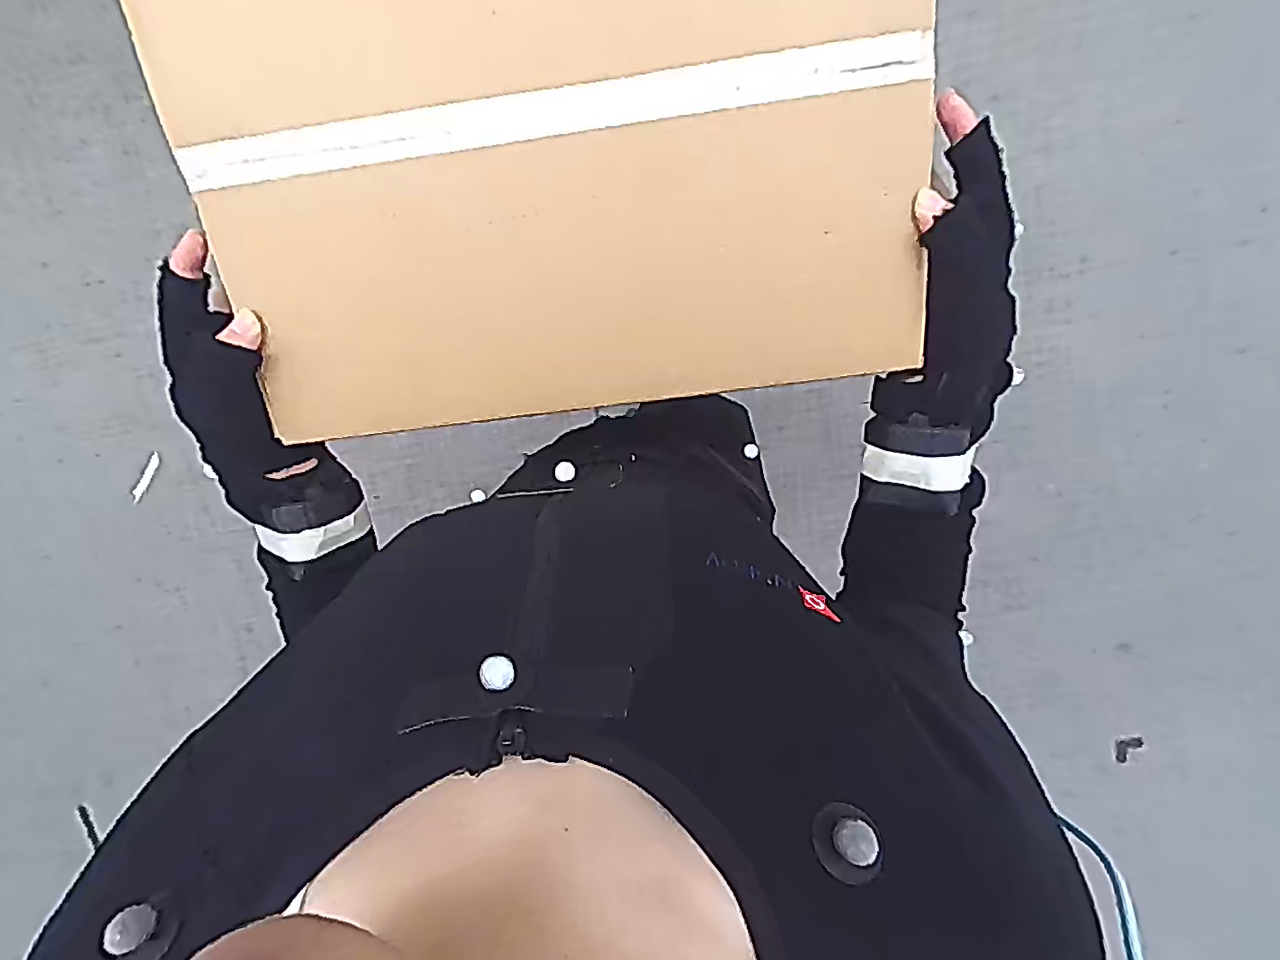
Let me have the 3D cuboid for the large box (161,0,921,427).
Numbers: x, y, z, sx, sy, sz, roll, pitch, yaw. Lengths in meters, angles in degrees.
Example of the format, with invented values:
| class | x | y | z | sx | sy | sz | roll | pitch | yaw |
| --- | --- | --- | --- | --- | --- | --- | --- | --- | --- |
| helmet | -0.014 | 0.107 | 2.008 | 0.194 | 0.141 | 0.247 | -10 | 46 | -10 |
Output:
| class | x | y | z | sx | sy | sz | roll | pitch | yaw |
| --- | --- | --- | --- | --- | --- | --- | --- | --- | --- |
| large box | -0.047 | -0.249 | 0.441 | 0.408 | 0.320 | 0.320 | -7 | 109 | 3 |
